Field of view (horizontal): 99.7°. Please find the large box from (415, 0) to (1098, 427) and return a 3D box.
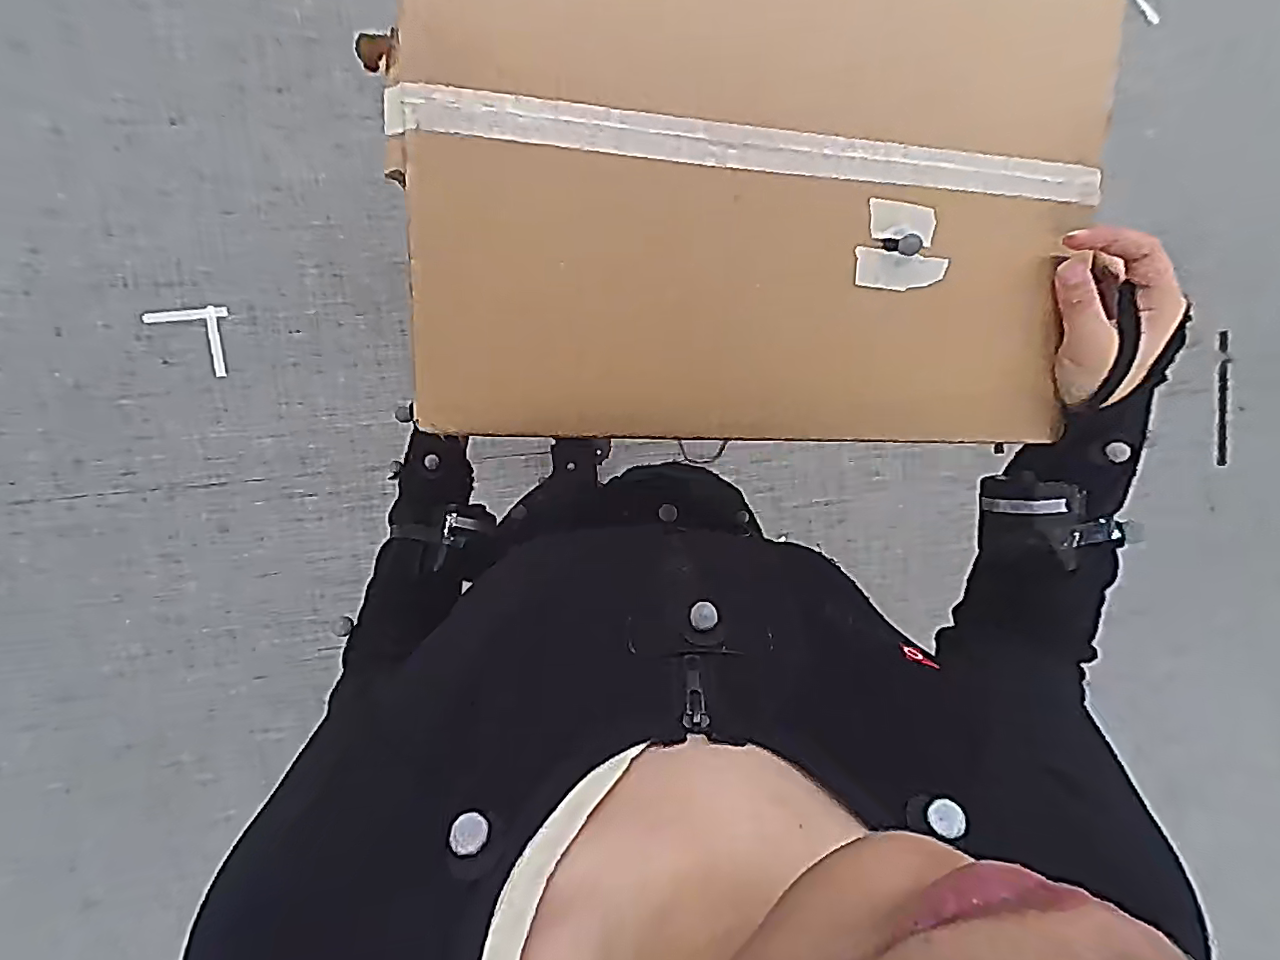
[{"bbox_3d":[0.051,-0.209,0.450,0.408,0.320,0.320,0,100,-13],"label":"large box"}]
